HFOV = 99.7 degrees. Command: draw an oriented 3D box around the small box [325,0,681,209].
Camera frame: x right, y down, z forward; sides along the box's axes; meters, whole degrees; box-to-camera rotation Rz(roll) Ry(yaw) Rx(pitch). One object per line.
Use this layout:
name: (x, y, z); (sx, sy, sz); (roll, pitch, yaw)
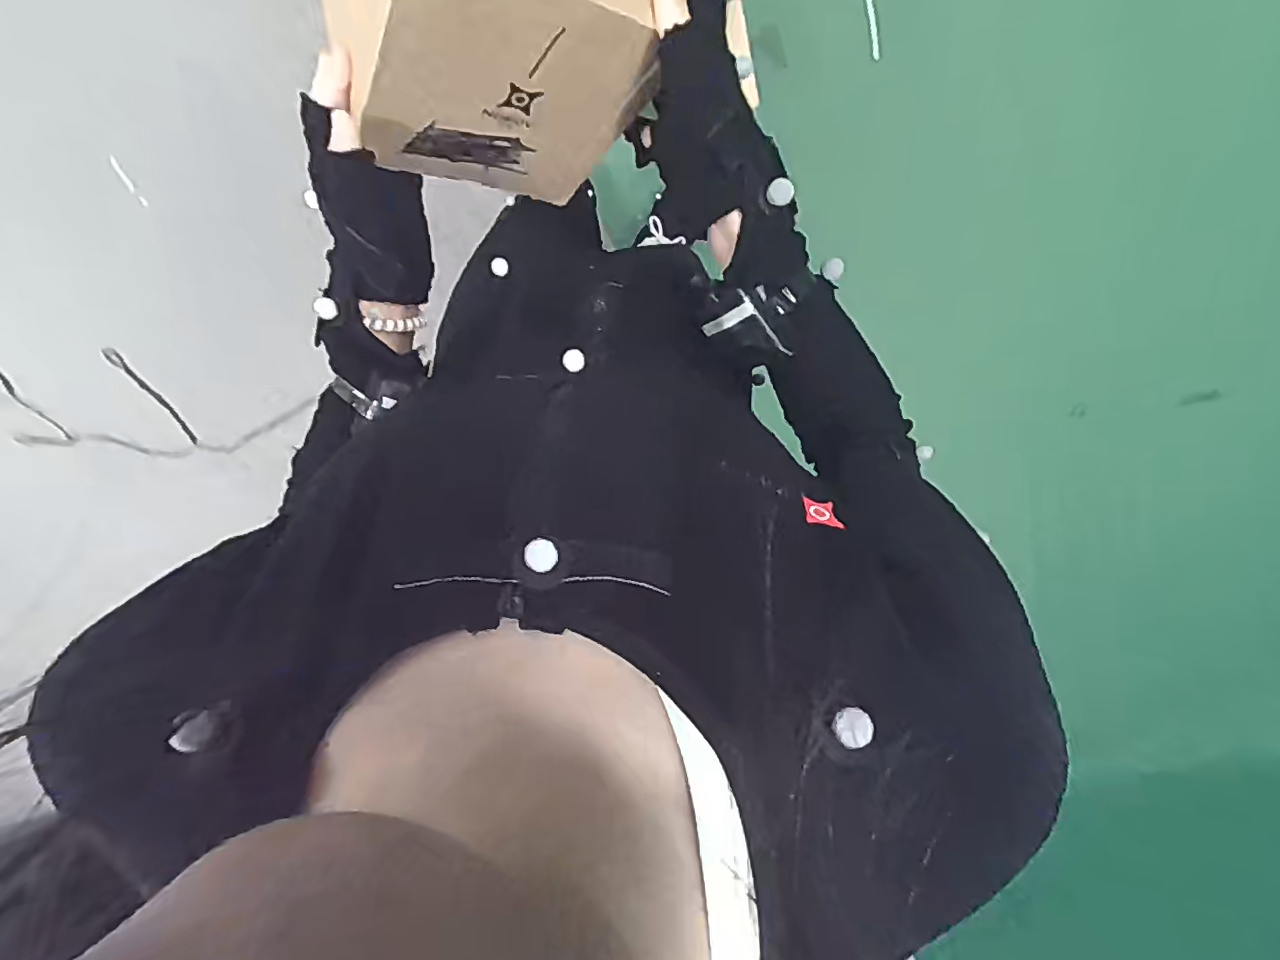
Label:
small box: (-0.100, -0.316, 0.350); (0.179, 0.168, 0.176); (-17, 84, 54)
